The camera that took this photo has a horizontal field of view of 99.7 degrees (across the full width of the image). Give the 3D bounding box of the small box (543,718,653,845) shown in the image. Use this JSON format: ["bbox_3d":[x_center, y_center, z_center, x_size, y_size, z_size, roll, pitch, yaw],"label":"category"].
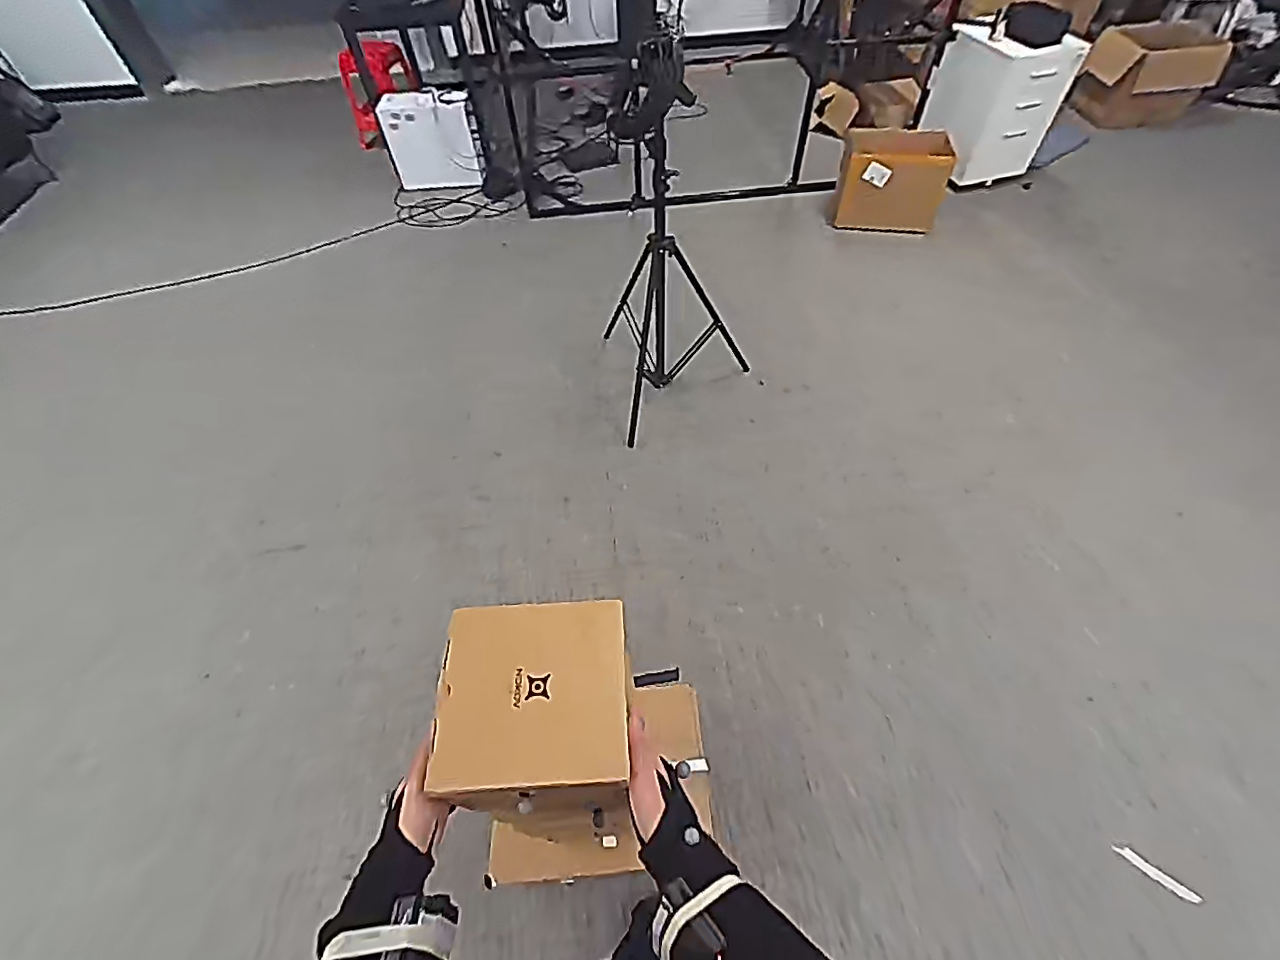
[{"bbox_3d":[-0.073,0.540,0.963,0.179,0.176,0.168,-7,54,-3],"label":"small box"}]

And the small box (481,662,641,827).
[{"bbox_3d":[-0.089,0.344,0.700,0.179,0.176,0.168,-4,53,0],"label":"small box"}]

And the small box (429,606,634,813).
[{"bbox_3d":[-0.095,0.245,0.570,0.179,0.176,0.168,-4,54,-1],"label":"small box"}]
